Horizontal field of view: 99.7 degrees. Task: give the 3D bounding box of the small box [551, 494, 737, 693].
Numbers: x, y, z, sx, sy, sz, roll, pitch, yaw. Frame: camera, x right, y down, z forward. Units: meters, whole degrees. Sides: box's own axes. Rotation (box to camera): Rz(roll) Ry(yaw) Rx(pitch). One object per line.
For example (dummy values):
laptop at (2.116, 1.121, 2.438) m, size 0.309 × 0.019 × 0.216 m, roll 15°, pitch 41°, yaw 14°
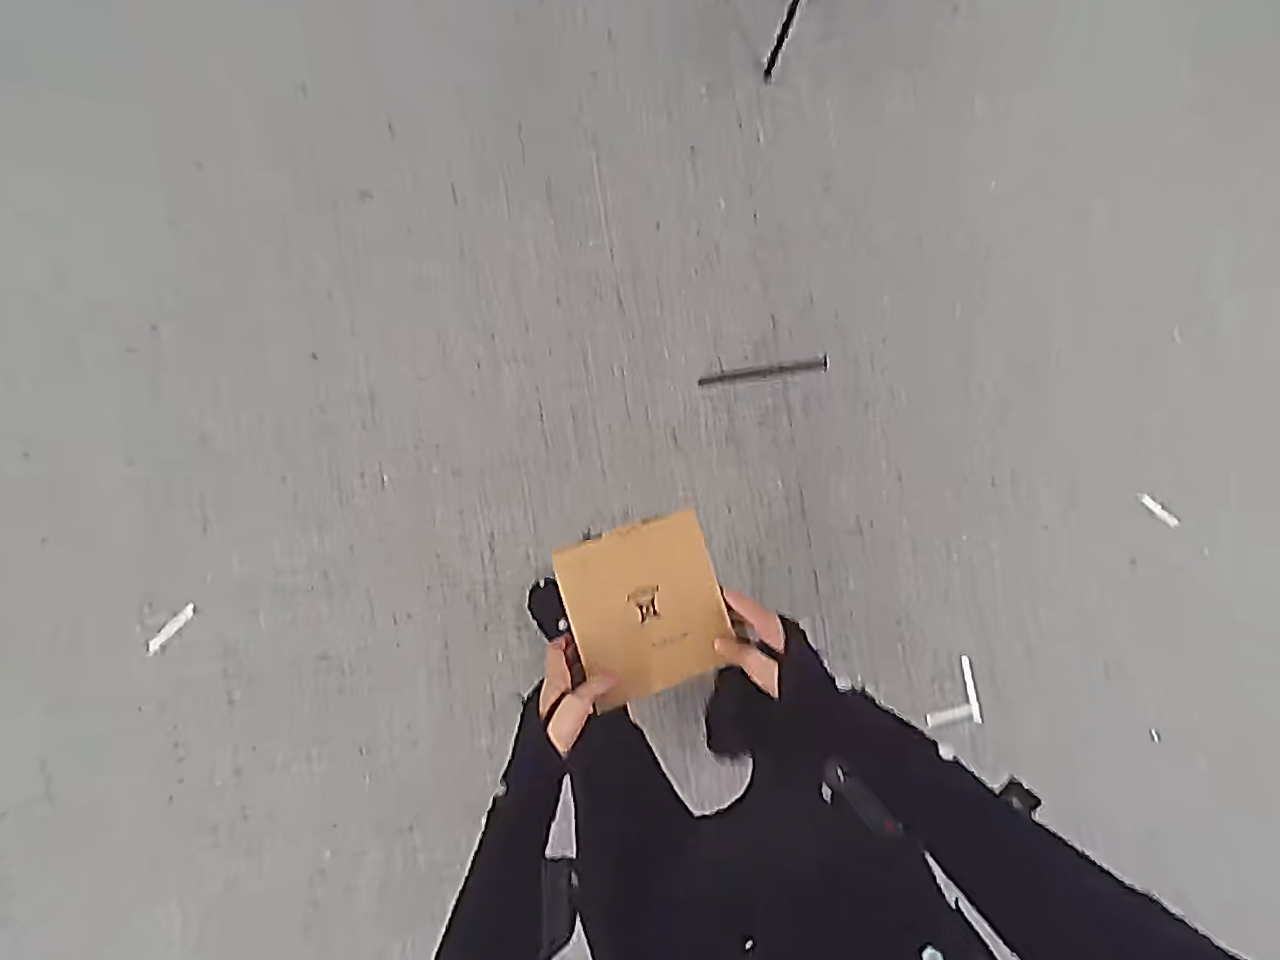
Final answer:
small box at (-0.006, 0.129, 0.658) m, size 0.168 × 0.176 × 0.179 m, roll -17°, pitch 86°, yaw -8°
